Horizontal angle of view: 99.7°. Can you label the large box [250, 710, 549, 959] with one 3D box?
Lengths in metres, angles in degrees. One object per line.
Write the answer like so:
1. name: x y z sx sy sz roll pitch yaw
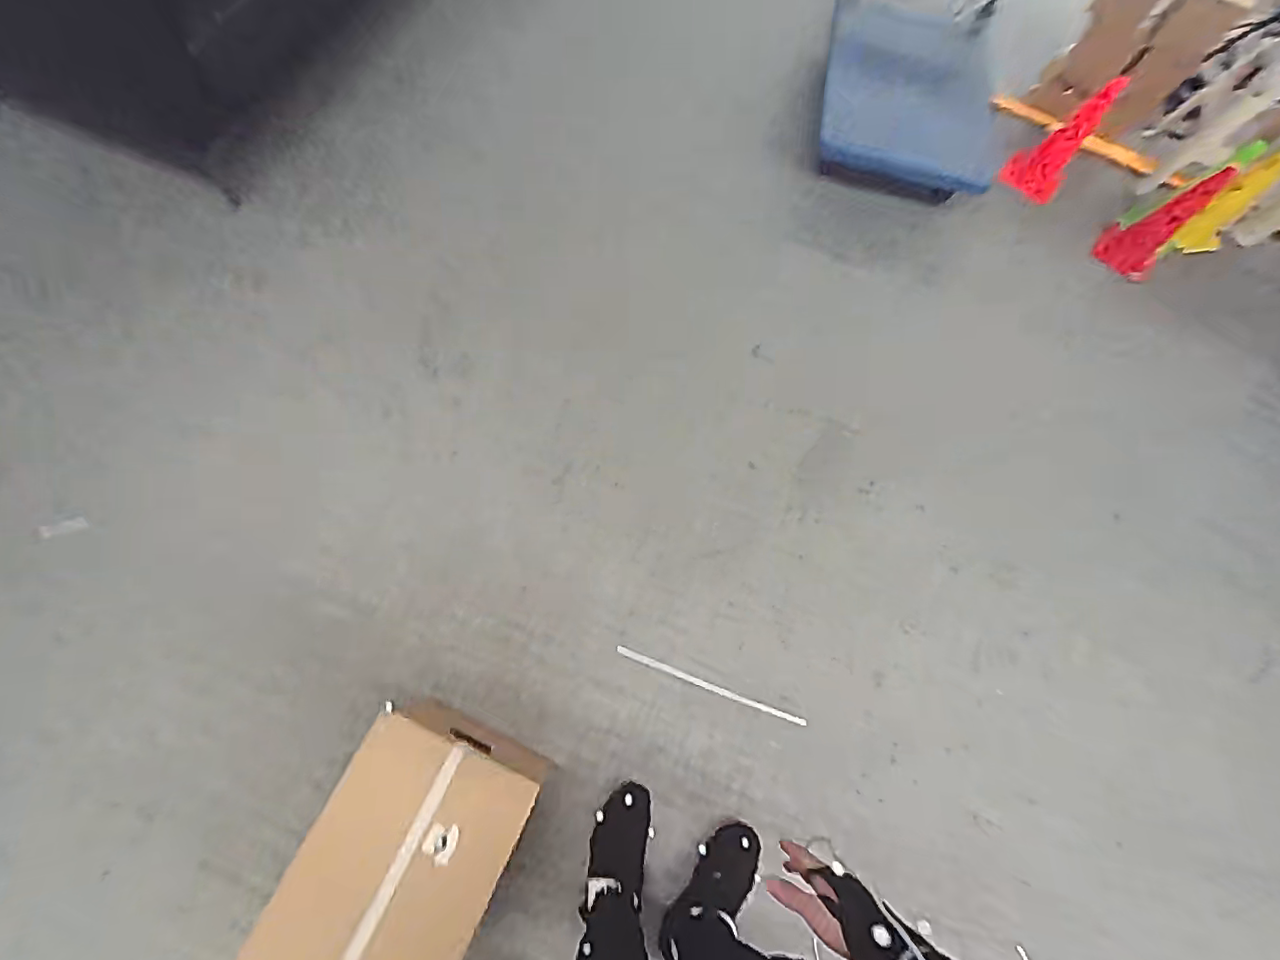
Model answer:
1. large box: -0.402 0.698 1.019 0.320 0.320 0.408 24 69 3
